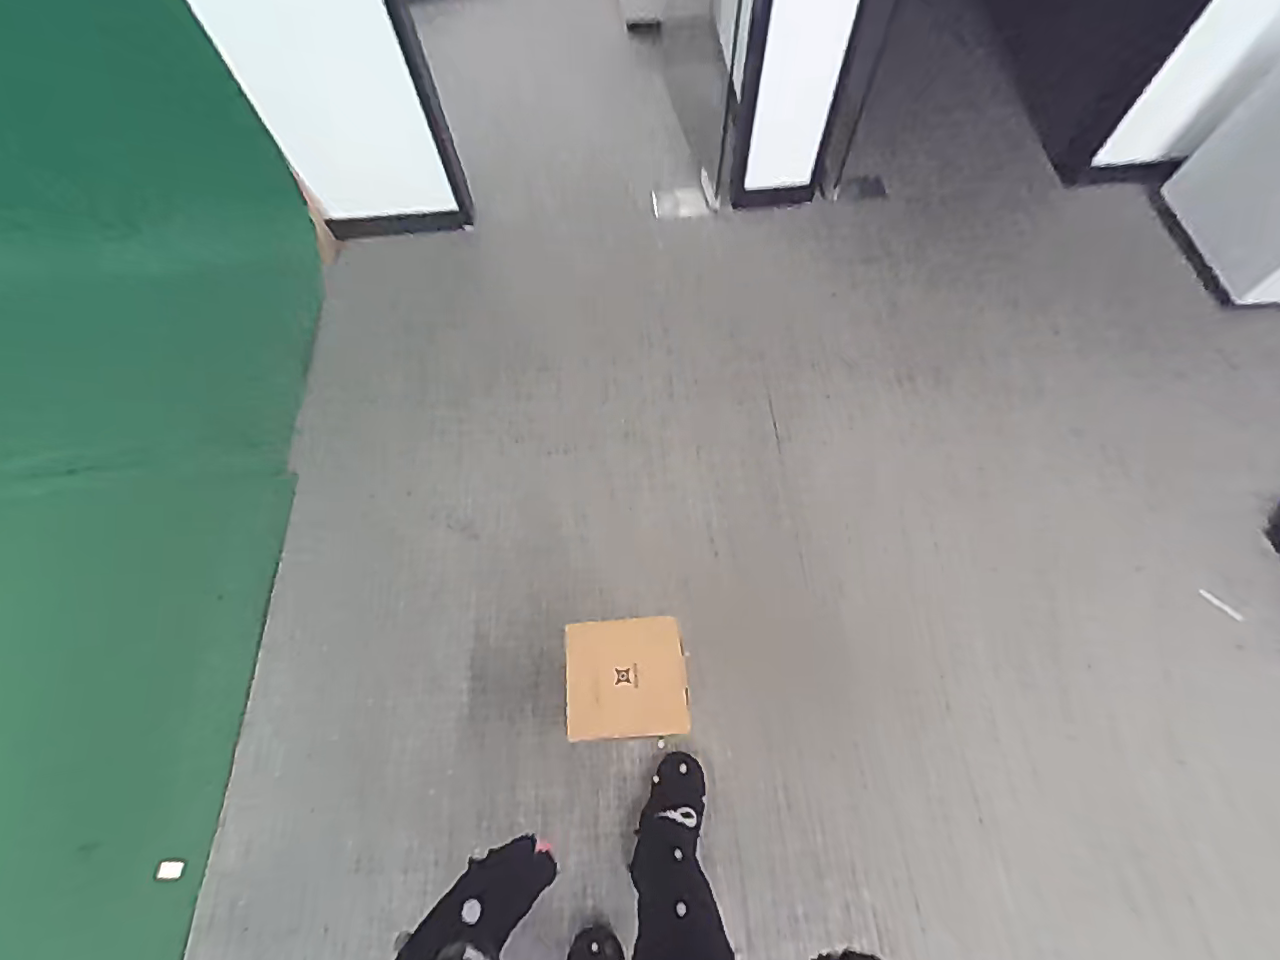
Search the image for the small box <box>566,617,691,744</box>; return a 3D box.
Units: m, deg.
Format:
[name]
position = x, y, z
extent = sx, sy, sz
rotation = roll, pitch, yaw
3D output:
[small box]
position = -0.018, 0.323, 0.862
extent = 0.179, 0.176, 0.168
rotation = -6, 63, 0
